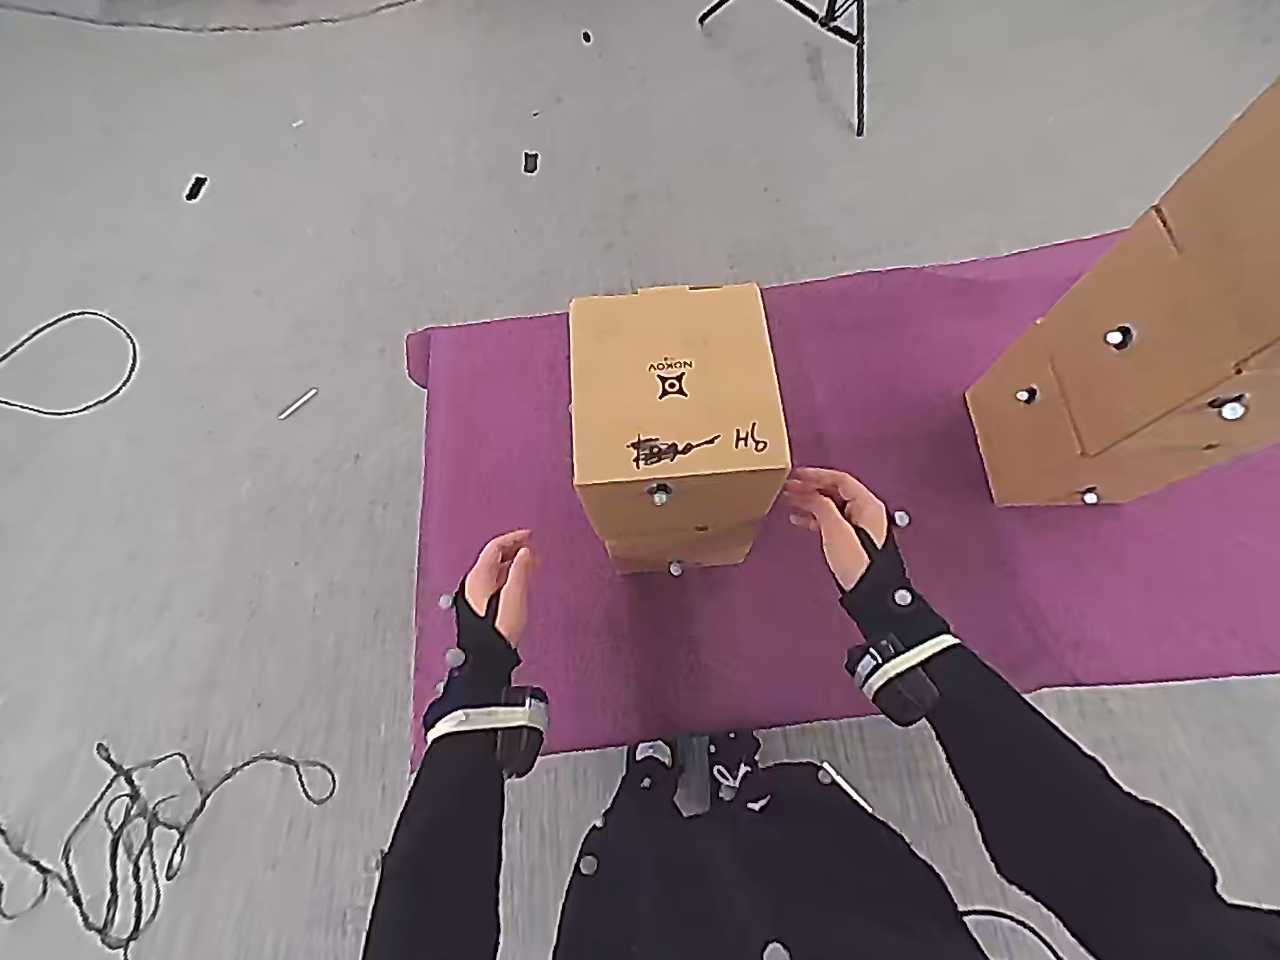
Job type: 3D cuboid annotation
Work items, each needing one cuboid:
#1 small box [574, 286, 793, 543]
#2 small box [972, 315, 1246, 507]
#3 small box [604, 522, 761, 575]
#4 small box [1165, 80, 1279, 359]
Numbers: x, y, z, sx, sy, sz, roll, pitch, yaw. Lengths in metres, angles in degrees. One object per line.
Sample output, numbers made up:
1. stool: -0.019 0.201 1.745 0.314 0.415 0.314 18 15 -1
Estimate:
1. small box: 0.031 -0.052 0.506 0.168 0.176 0.179 -5 68 2
2. small box: 0.542 -0.077 0.661 0.168 0.176 0.179 -2 68 4
3. small box: 0.042 0.008 0.659 0.168 0.176 0.179 -5 69 1
4. small box: 0.520 -0.189 0.355 0.168 0.176 0.179 0 67 3
